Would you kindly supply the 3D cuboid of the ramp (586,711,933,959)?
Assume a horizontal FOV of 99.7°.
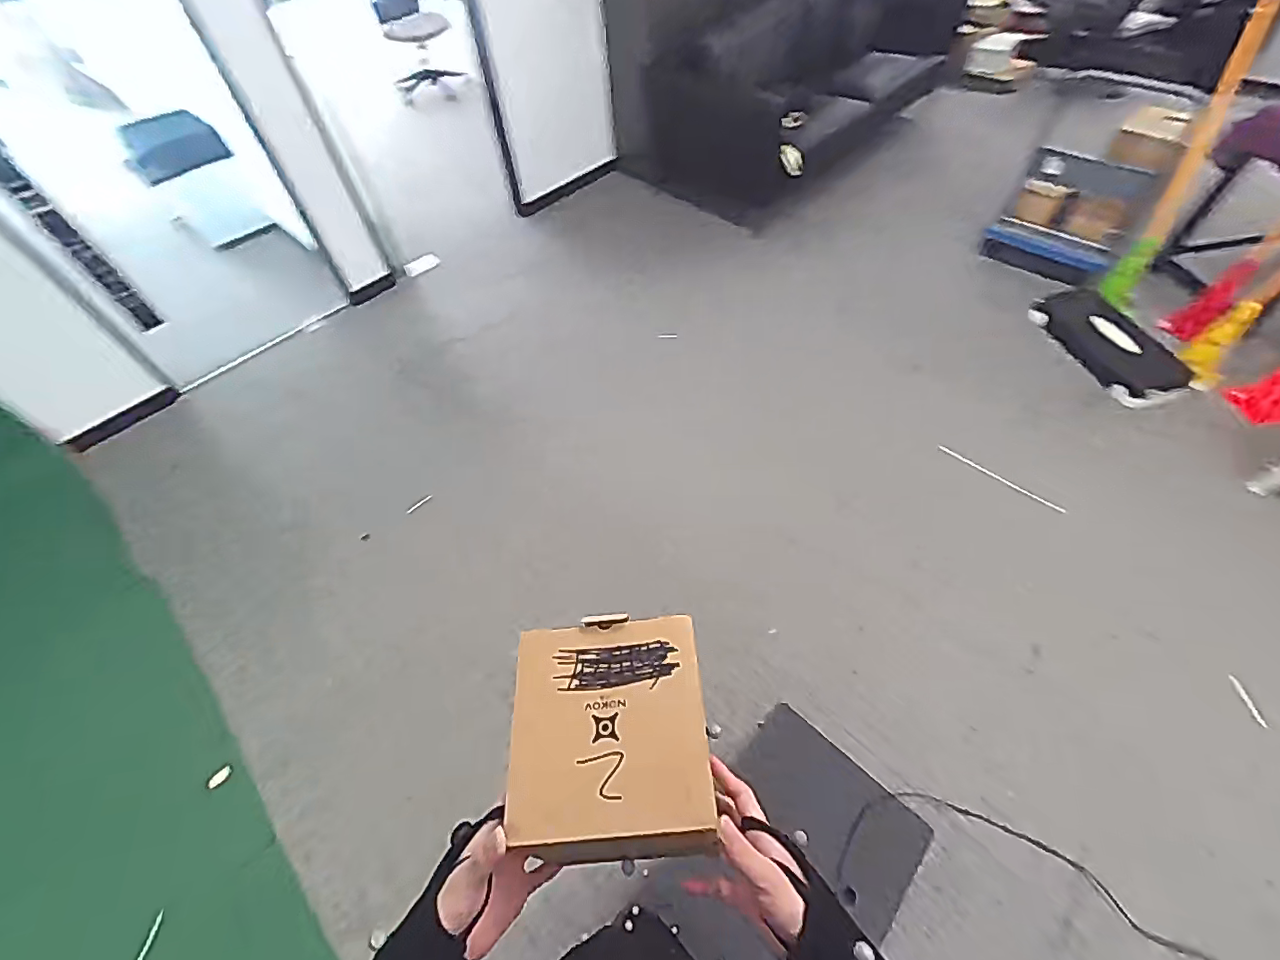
[{"bbox_3d":[0.257,1.059,1.264,0.509,0.206,0.991,34,62,27],"label":"ramp"}]
